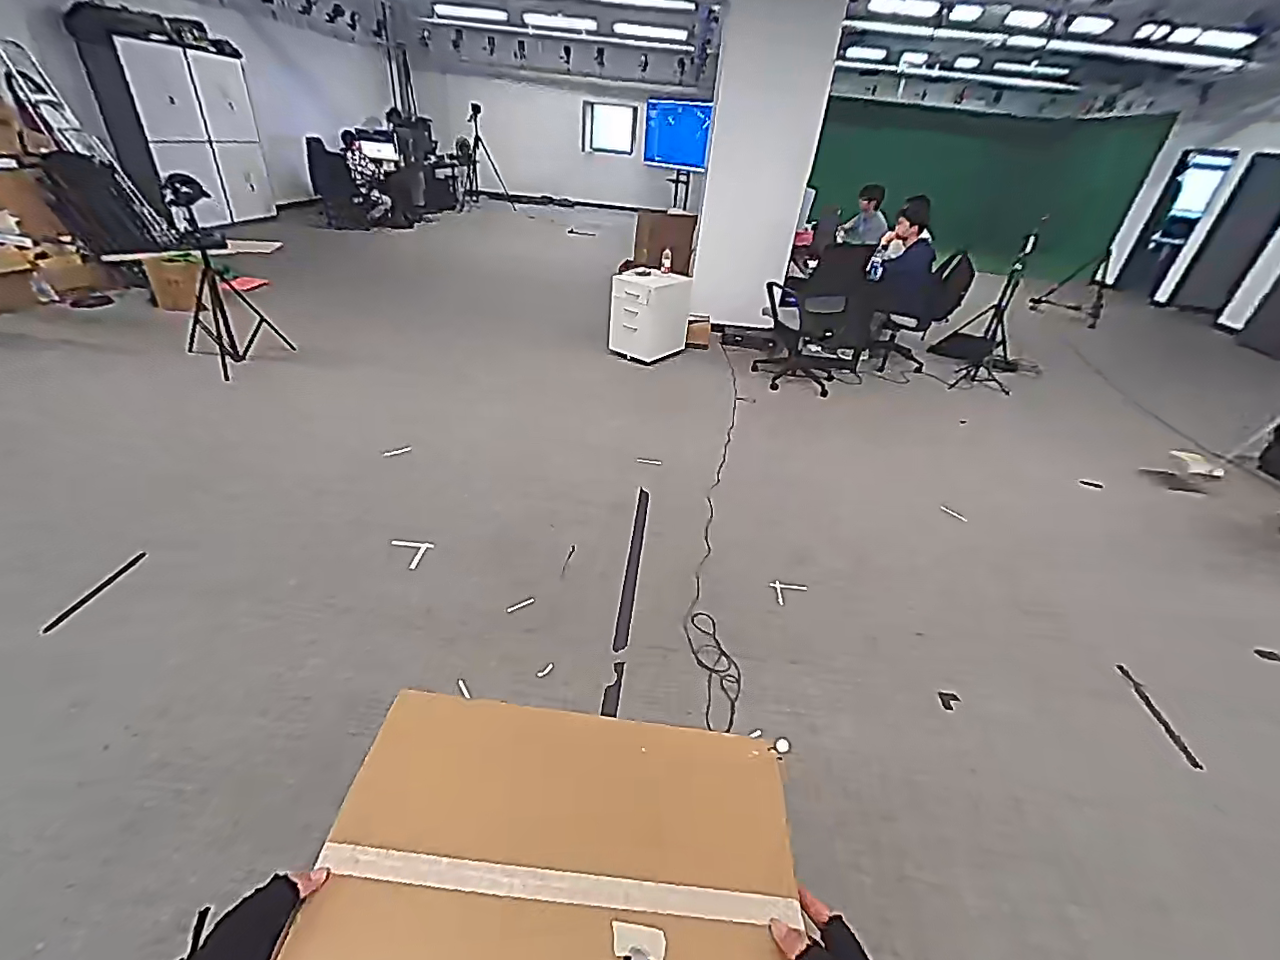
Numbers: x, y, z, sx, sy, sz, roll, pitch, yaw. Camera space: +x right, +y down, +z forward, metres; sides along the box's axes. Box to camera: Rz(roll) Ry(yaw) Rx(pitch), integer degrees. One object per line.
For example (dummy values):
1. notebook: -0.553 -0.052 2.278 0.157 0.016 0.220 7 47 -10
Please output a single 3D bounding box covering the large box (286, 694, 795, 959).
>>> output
1. large box: -0.087 0.466 0.555 0.408 0.320 0.320 9 36 -1
